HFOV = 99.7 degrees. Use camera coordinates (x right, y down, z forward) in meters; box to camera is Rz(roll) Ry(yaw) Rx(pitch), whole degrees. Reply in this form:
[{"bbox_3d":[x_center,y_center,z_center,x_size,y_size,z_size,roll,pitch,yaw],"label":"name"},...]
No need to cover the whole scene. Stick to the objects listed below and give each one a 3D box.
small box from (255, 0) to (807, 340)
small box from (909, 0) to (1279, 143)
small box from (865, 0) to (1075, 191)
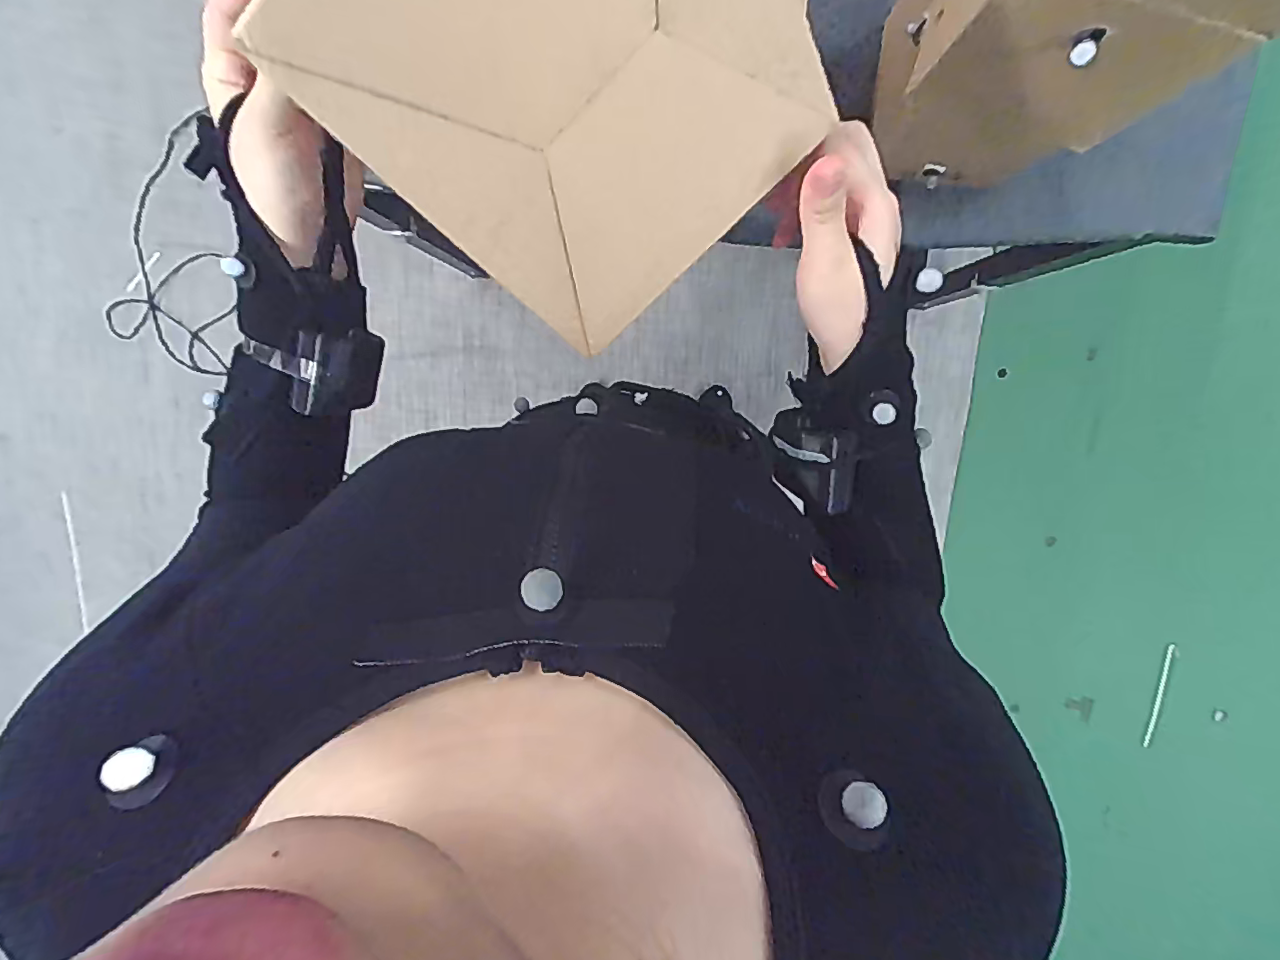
[{"bbox_3d":[-0.047,-0.203,0.261,0.168,0.176,0.179,-40,140,14],"label":"small box"},{"bbox_3d":[0.346,-0.391,0.410,0.179,0.176,0.168,17,100,1],"label":"small box"},{"bbox_3d":[0.355,-0.432,0.567,0.168,0.176,0.179,6,100,3],"label":"small box"}]
